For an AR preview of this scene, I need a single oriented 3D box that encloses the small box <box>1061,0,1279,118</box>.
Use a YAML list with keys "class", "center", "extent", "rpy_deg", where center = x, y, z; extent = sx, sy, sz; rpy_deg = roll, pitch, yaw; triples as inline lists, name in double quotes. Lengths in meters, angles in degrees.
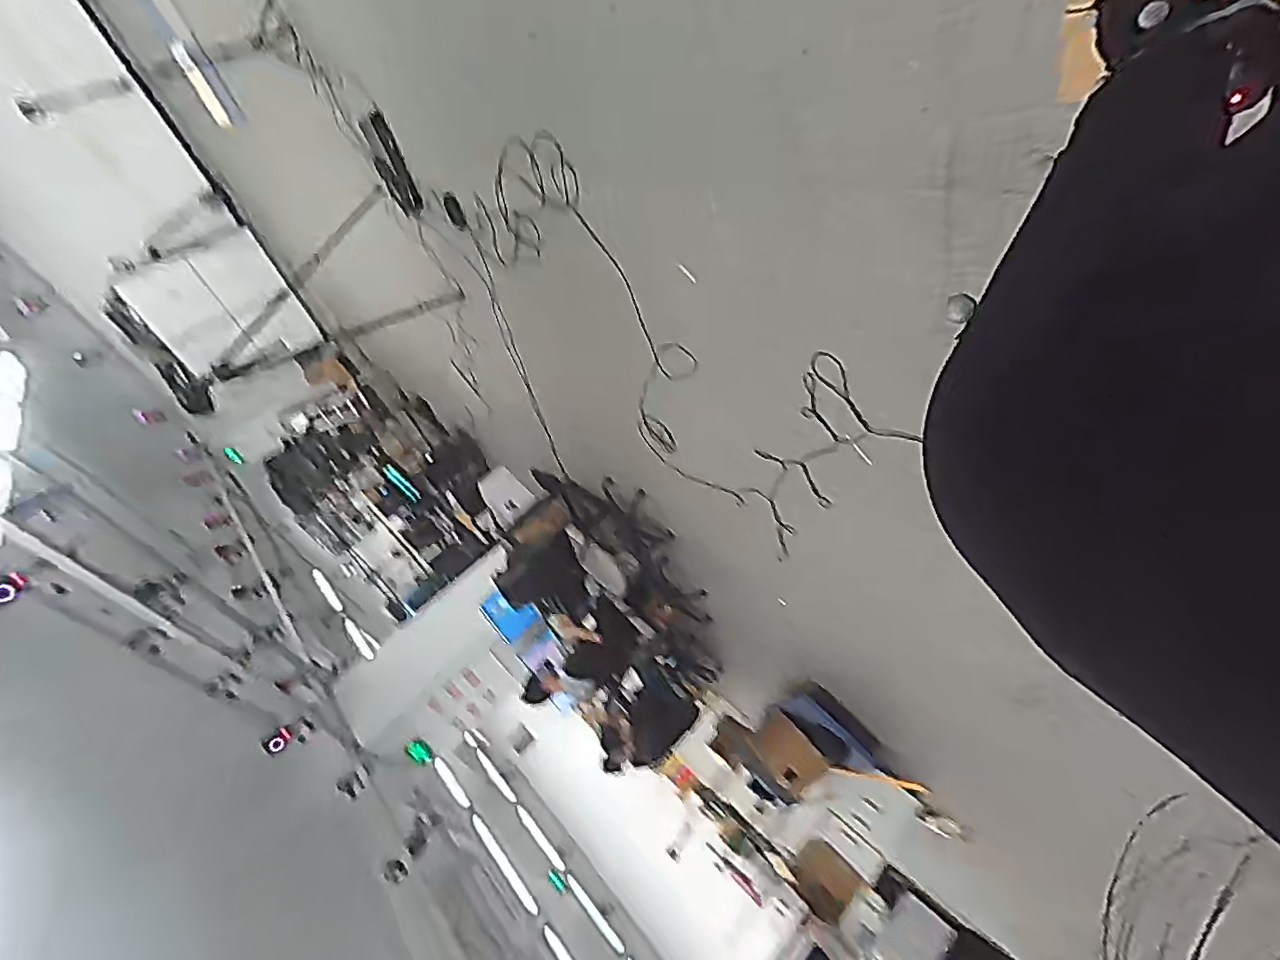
- class: "small box"
  center: [0.512, -0.471, 0.493]
  extent: [0.168, 0.179, 0.176]
  rpy_deg: [19, 104, 34]
